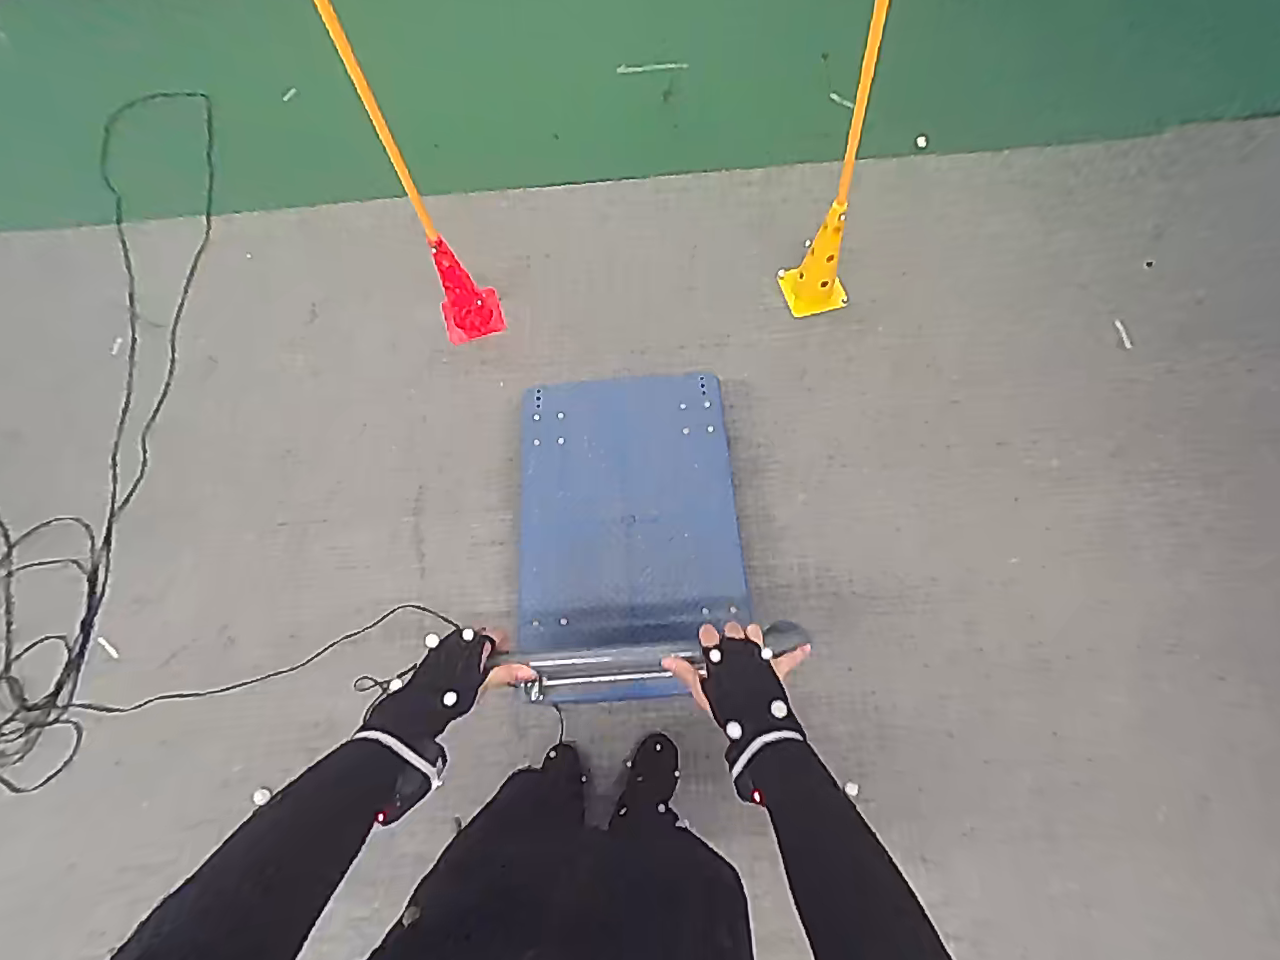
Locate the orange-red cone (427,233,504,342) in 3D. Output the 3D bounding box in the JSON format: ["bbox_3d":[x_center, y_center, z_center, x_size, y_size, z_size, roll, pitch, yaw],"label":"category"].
[{"bbox_3d":[-0.597,-0.644,1.741,0.199,0.360,0.198,-18,68,-2],"label":"orange-red cone"}]
